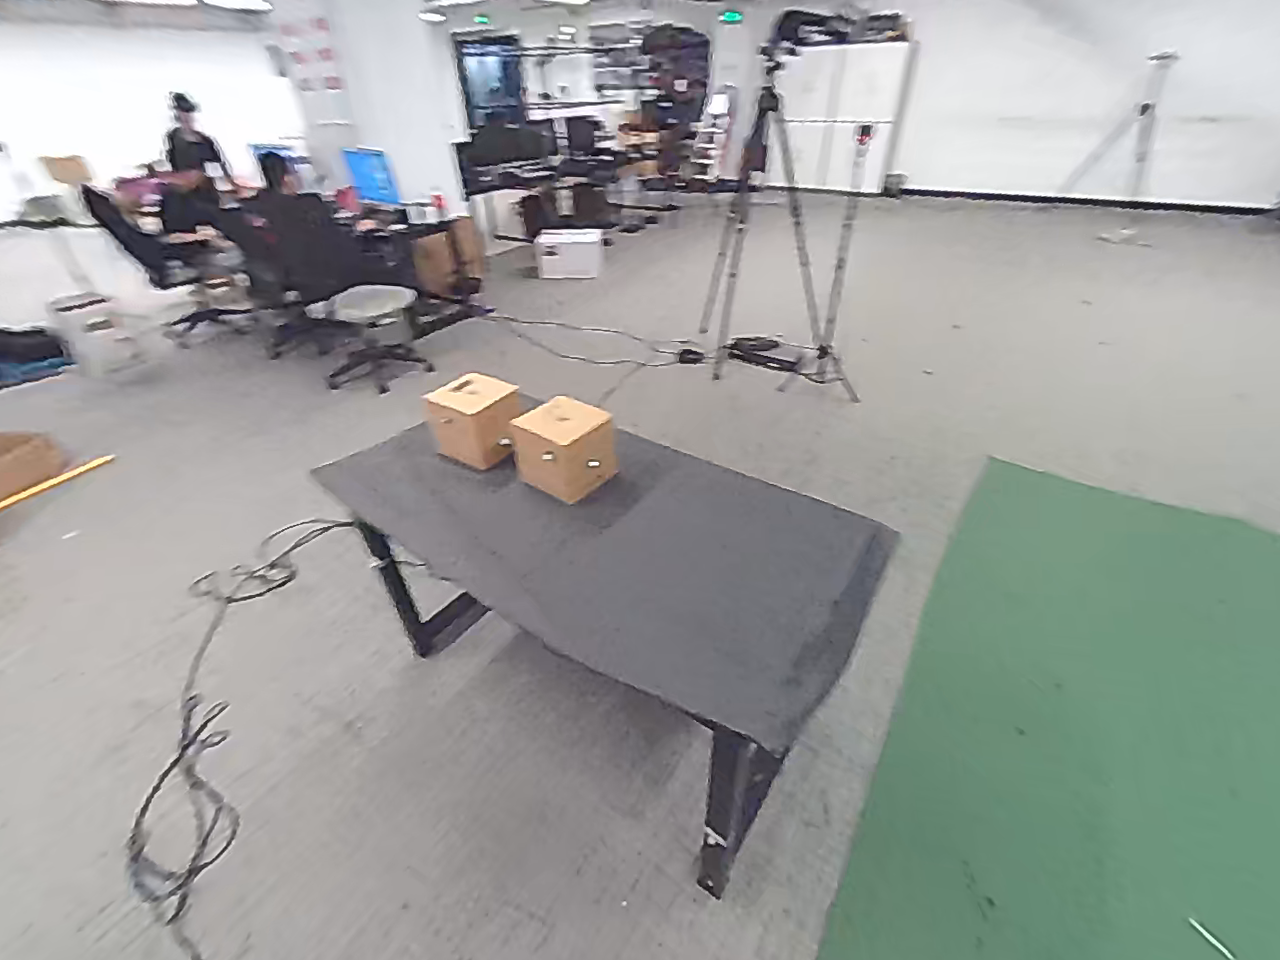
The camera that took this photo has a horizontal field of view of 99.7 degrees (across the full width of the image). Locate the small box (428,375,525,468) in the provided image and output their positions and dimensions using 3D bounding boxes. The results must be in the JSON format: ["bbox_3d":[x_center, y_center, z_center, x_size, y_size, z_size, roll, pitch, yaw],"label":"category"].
[{"bbox_3d":[-0.418,-0.154,1.419,0.179,0.176,0.168,20,42,26],"label":"small box"}]

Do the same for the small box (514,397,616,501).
[{"bbox_3d":[-0.172,-0.072,1.295,0.179,0.176,0.168,24,43,31],"label":"small box"}]
